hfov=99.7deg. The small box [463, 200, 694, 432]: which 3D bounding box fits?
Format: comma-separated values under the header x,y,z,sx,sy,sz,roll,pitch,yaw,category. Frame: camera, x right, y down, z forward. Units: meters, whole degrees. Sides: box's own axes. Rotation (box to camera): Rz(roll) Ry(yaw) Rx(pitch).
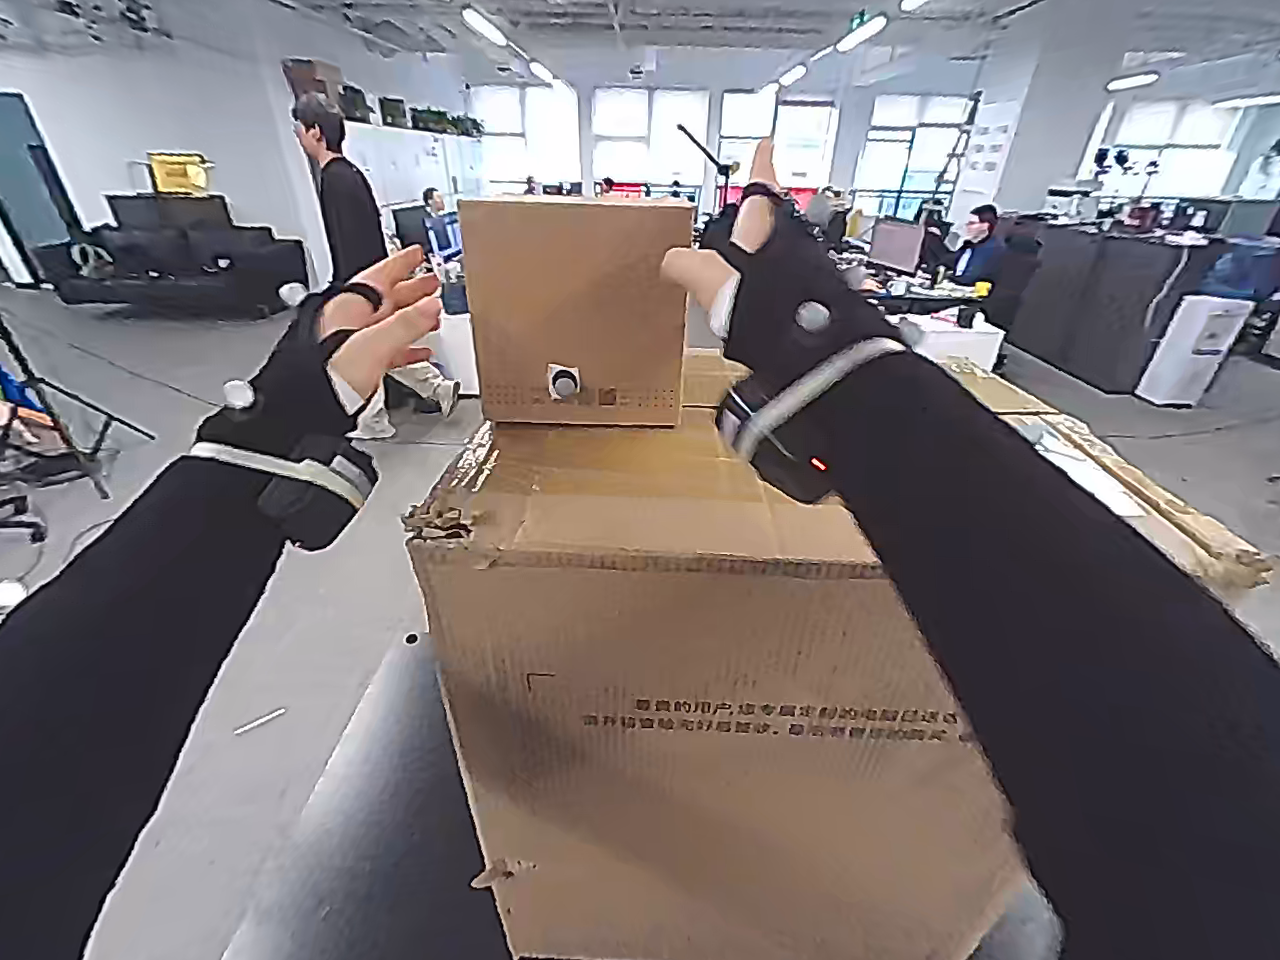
x,y,z,sx,sy,sz,roll,pitch,yaw,category
-0.047,-0.153,0.487,0.168,0.176,0.179,-1,30,-2,small box
